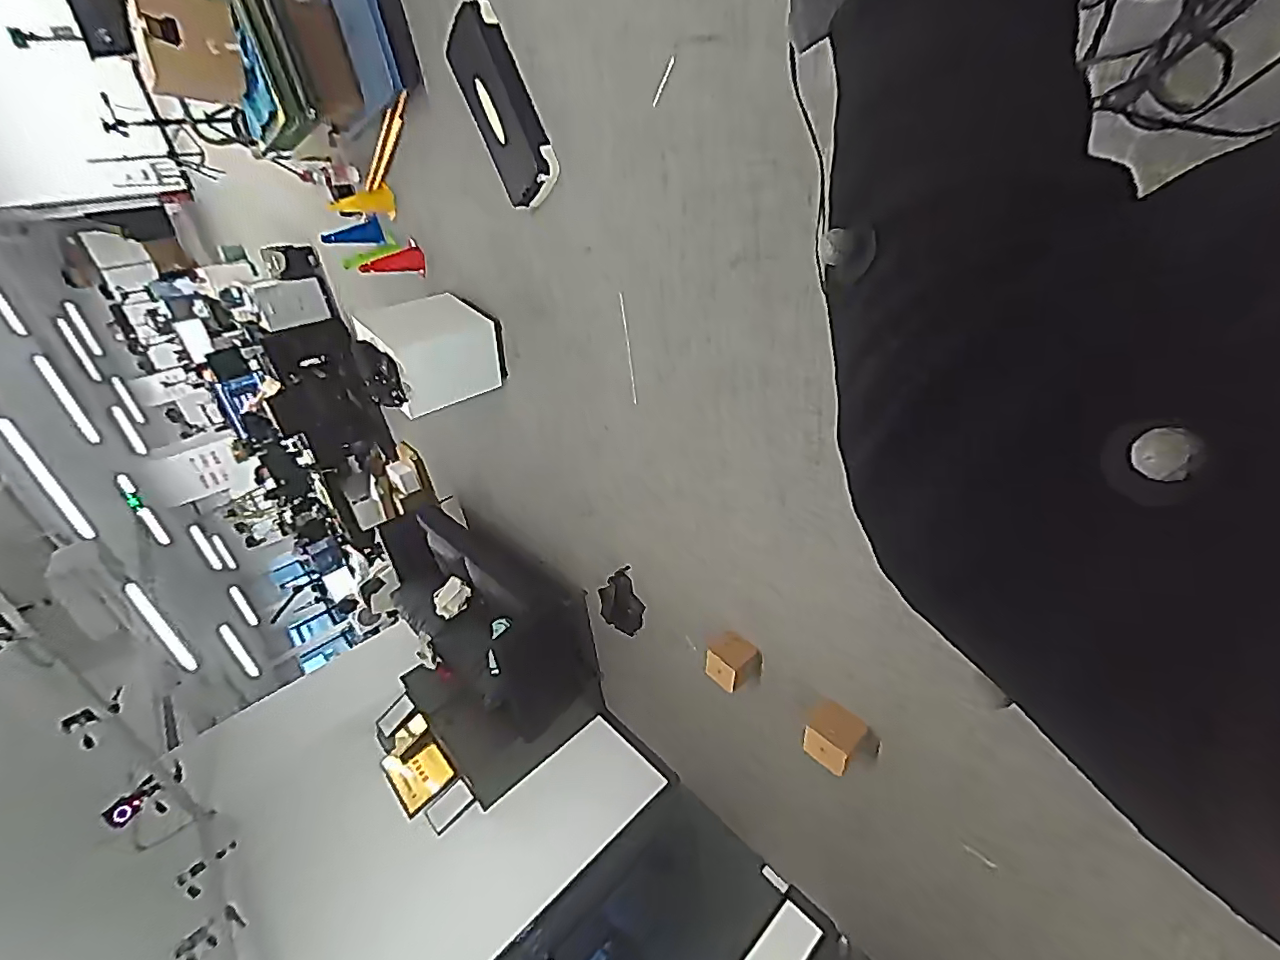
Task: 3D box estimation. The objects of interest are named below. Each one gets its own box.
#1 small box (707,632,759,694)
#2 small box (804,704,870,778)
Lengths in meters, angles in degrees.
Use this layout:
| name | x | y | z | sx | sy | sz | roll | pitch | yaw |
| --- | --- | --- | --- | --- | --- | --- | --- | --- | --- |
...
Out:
| name | x | y | z | sx | sy | sz | roll | pitch | yaw |
| --- | --- | --- | --- | --- | --- | --- | --- | --- | --- |
| small box | 0.427 | 0.833 | 2.479 | 0.168 | 0.176 | 0.179 | 32 | 138 | 39 |
| small box | 0.777 | 1.020 | 2.137 | 0.179 | 0.176 | 0.168 | 27 | 134 | 41 |
